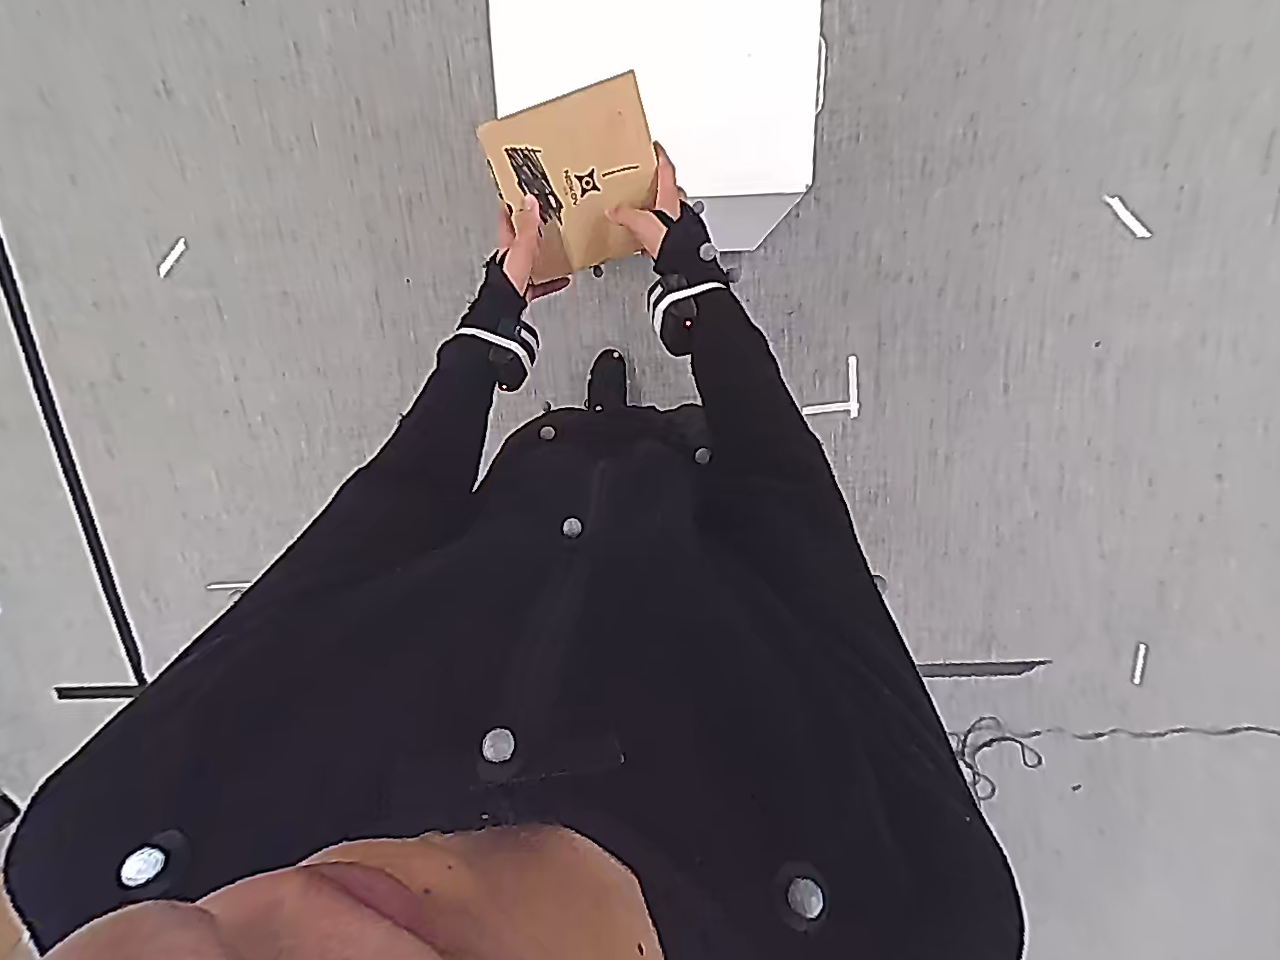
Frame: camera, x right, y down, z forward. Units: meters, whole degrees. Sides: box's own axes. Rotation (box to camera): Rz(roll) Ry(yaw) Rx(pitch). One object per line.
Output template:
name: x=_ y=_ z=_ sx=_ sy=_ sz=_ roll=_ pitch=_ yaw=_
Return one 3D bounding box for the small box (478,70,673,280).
small box: x=-0.067 y=-0.353 z=0.660 sx=0.179 sy=0.176 sz=0.168 roll=-16 pitch=112 yaw=5
